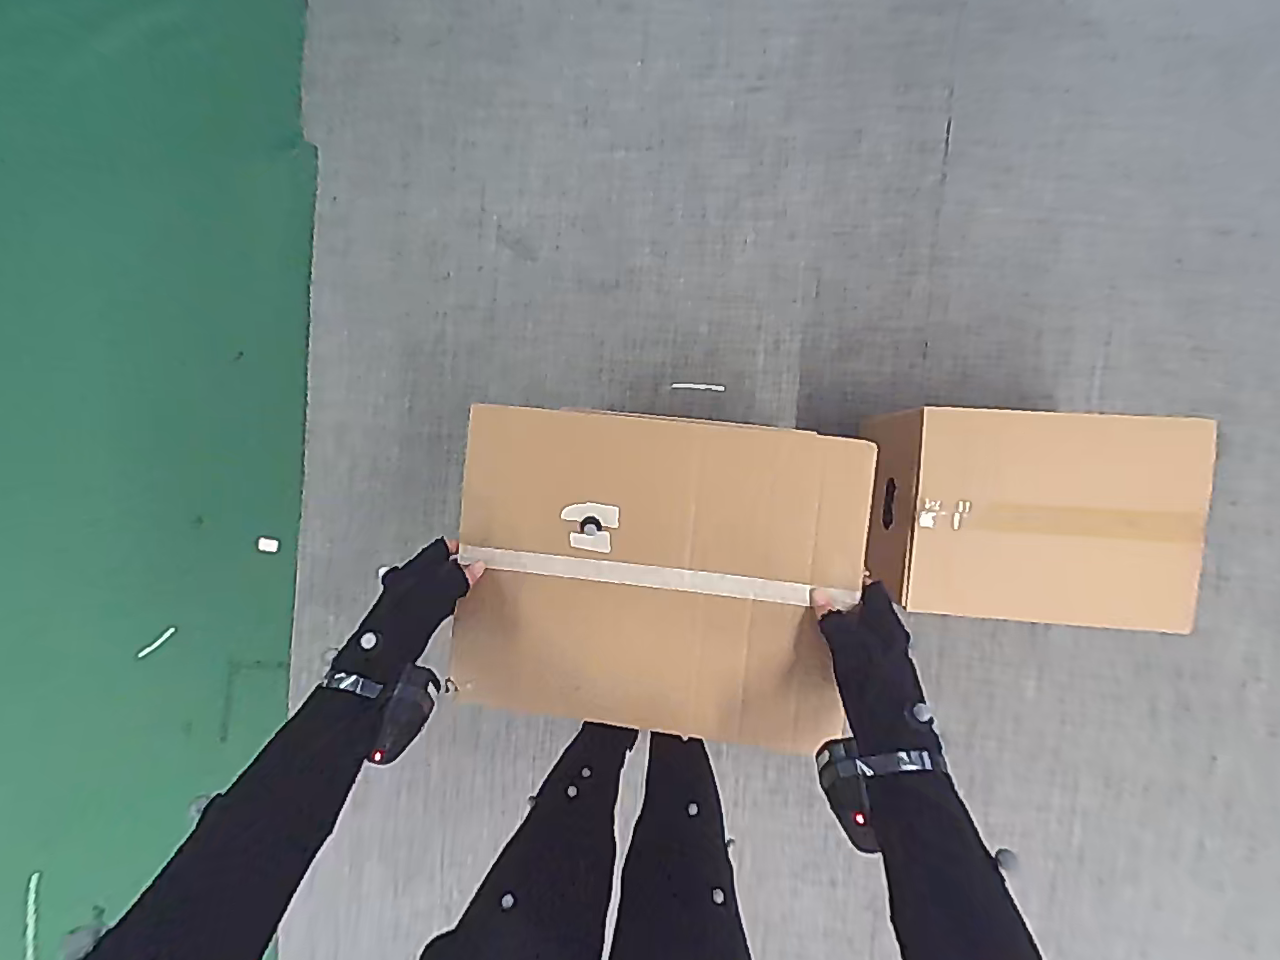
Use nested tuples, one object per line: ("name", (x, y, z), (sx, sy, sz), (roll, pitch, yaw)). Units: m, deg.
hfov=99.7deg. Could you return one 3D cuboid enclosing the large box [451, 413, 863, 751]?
("large box", (0.026, 0.094, 0.694), (0.408, 0.320, 0.320), (6, 92, 6))
